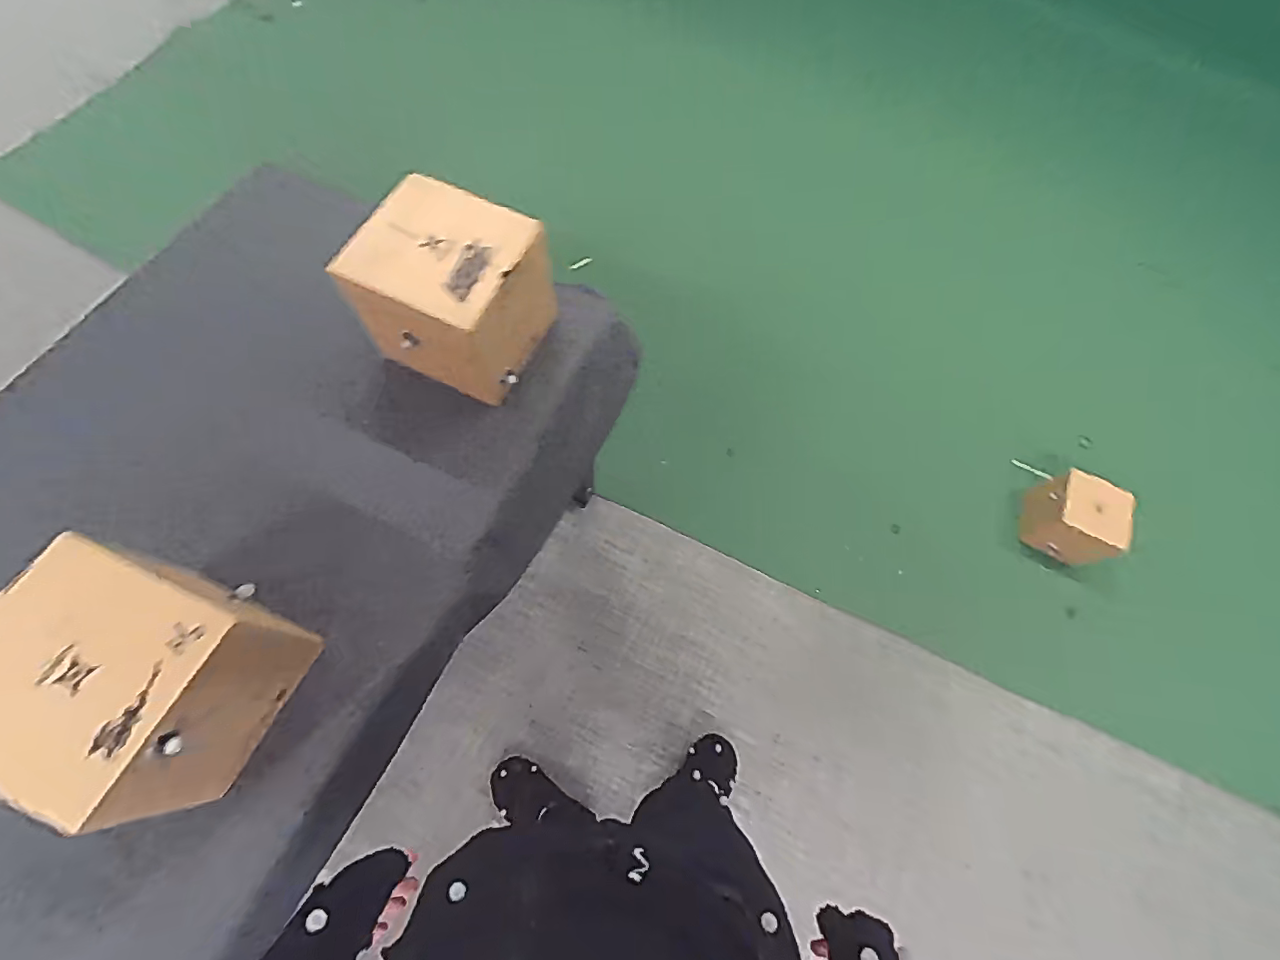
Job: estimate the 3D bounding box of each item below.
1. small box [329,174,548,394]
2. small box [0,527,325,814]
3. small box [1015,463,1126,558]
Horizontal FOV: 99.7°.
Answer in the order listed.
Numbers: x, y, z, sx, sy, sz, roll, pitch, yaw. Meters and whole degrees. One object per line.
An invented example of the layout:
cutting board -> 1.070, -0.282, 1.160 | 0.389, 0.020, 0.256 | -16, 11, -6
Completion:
small box -> -0.231, -0.232, 0.678 | 0.179, 0.176, 0.168 | 24, 70, 6
small box -> -0.445, 0.171, 0.497 | 0.179, 0.176, 0.168 | 24, 68, 6
small box -> 1.165, 0.089, 1.473 | 0.168, 0.176, 0.179 | 25, 69, 6
